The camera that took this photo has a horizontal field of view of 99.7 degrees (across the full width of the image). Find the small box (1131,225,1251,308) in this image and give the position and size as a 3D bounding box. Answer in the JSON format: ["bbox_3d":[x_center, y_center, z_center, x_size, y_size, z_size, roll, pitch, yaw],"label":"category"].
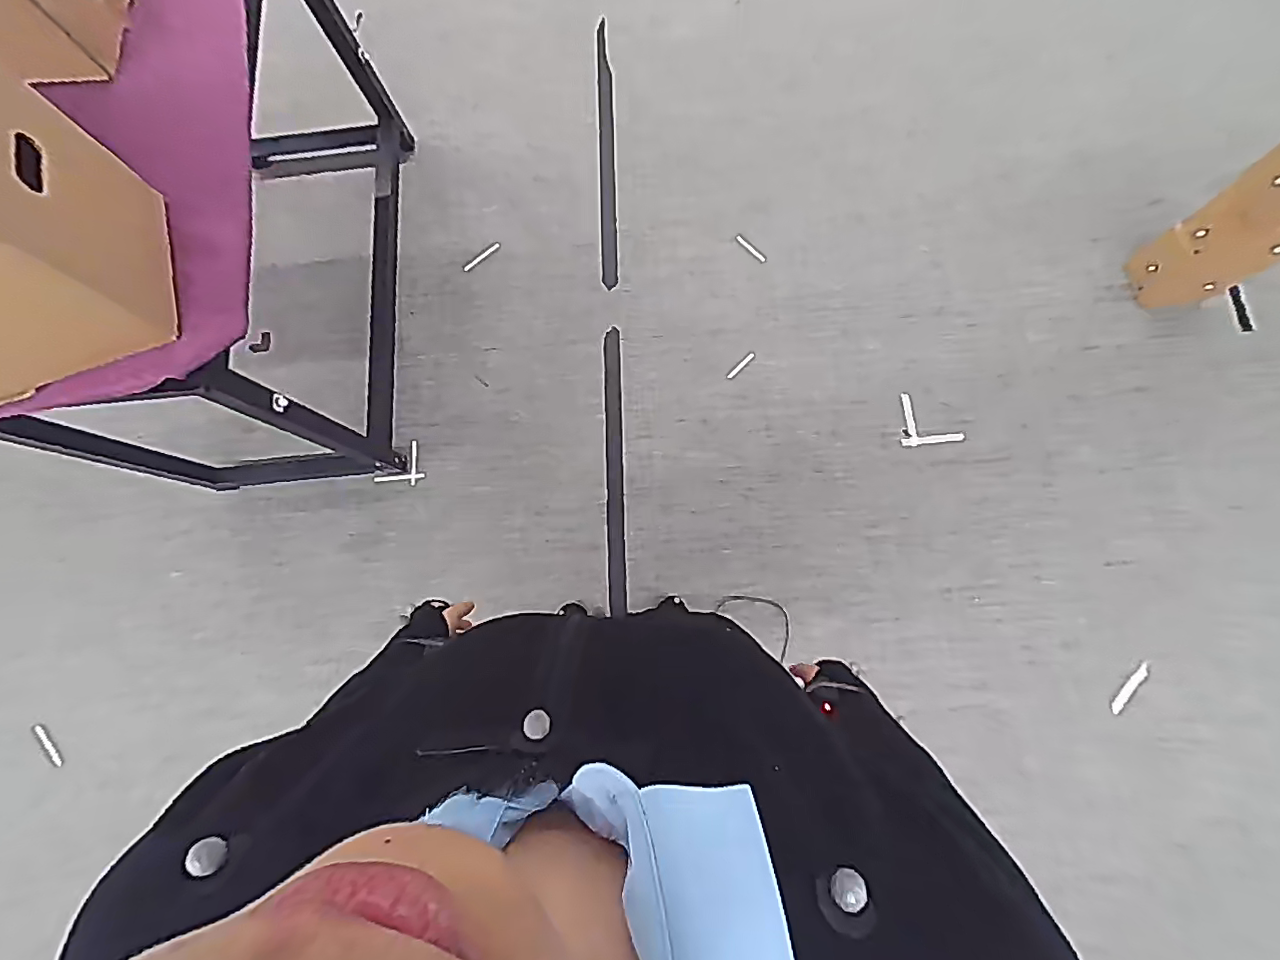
[{"bbox_3d":[1.542,-0.601,1.523,0.179,0.176,0.168,-6,78,2],"label":"small box"}]

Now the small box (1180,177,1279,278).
[{"bbox_3d":[1.542,-0.632,1.363,0.179,0.176,0.168,-4,77,3],"label":"small box"}]
